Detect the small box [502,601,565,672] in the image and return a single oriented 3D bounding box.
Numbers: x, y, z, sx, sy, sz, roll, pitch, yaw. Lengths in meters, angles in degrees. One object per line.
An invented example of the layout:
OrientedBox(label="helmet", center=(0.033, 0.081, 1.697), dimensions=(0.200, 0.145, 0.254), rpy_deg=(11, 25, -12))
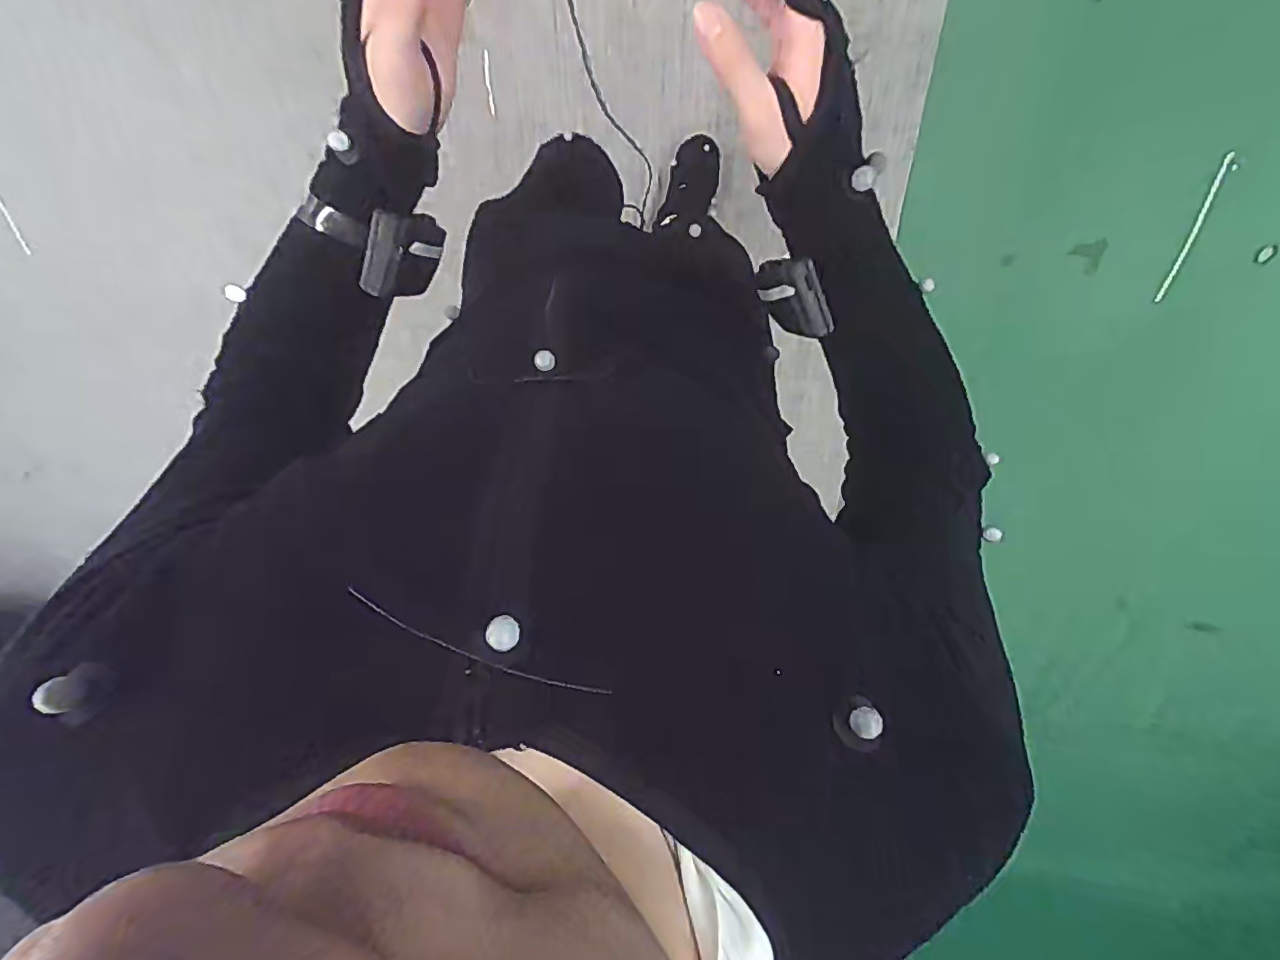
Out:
OrientedBox(label="small box", center=(-0.366, 0.544, 1.888), dimensions=(0.168, 0.176, 0.179), rpy_deg=(1, 122, 7))
